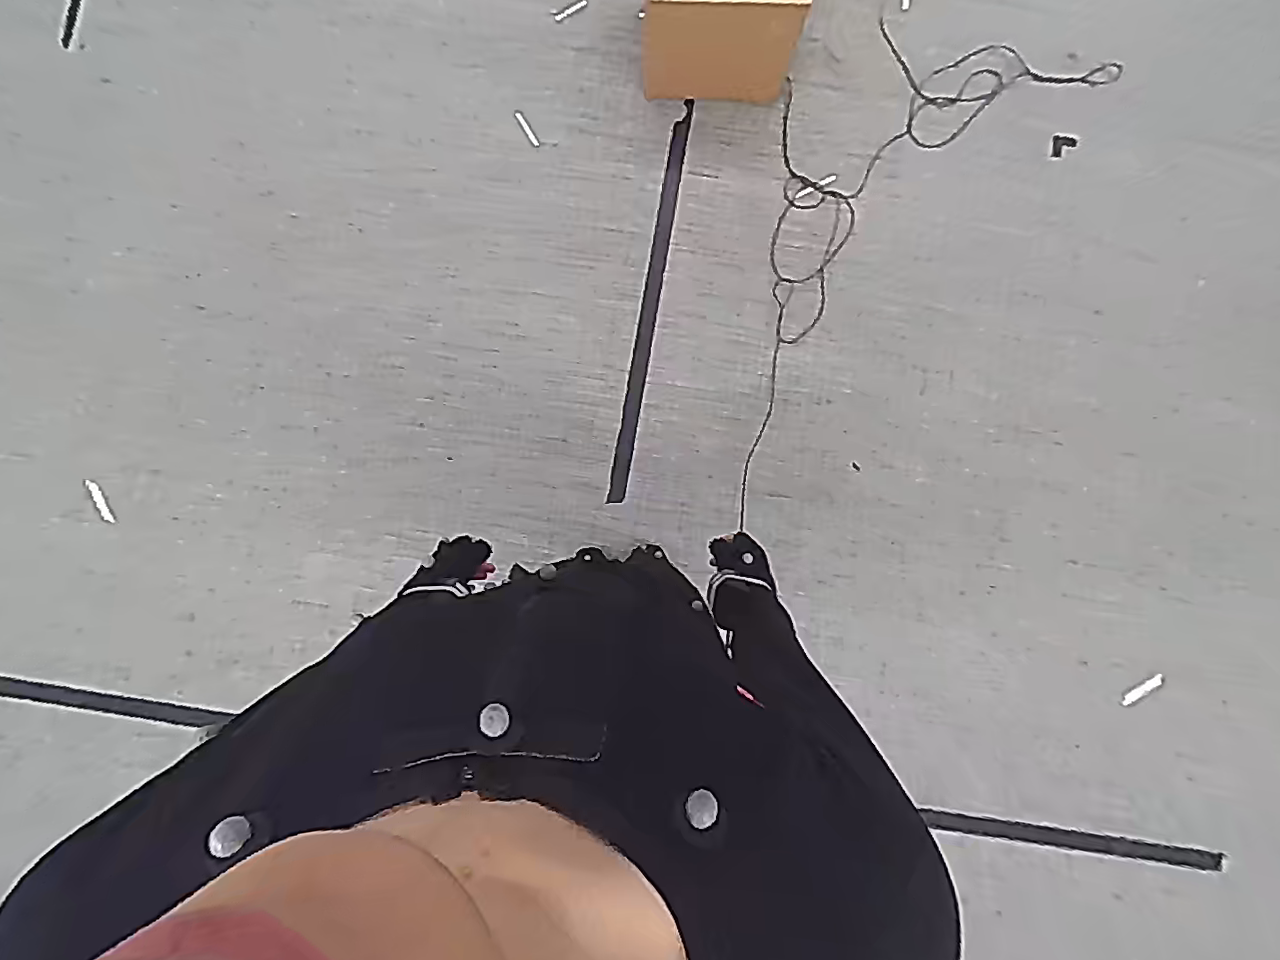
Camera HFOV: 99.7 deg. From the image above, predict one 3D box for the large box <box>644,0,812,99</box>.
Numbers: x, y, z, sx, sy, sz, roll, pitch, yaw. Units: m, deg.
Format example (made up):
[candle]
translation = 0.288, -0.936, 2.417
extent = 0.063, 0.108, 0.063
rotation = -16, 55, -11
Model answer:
[large box]
translation = 0.218, -1.298, 1.473
extent = 0.408, 0.320, 0.320
rotation = 1, 85, -1
